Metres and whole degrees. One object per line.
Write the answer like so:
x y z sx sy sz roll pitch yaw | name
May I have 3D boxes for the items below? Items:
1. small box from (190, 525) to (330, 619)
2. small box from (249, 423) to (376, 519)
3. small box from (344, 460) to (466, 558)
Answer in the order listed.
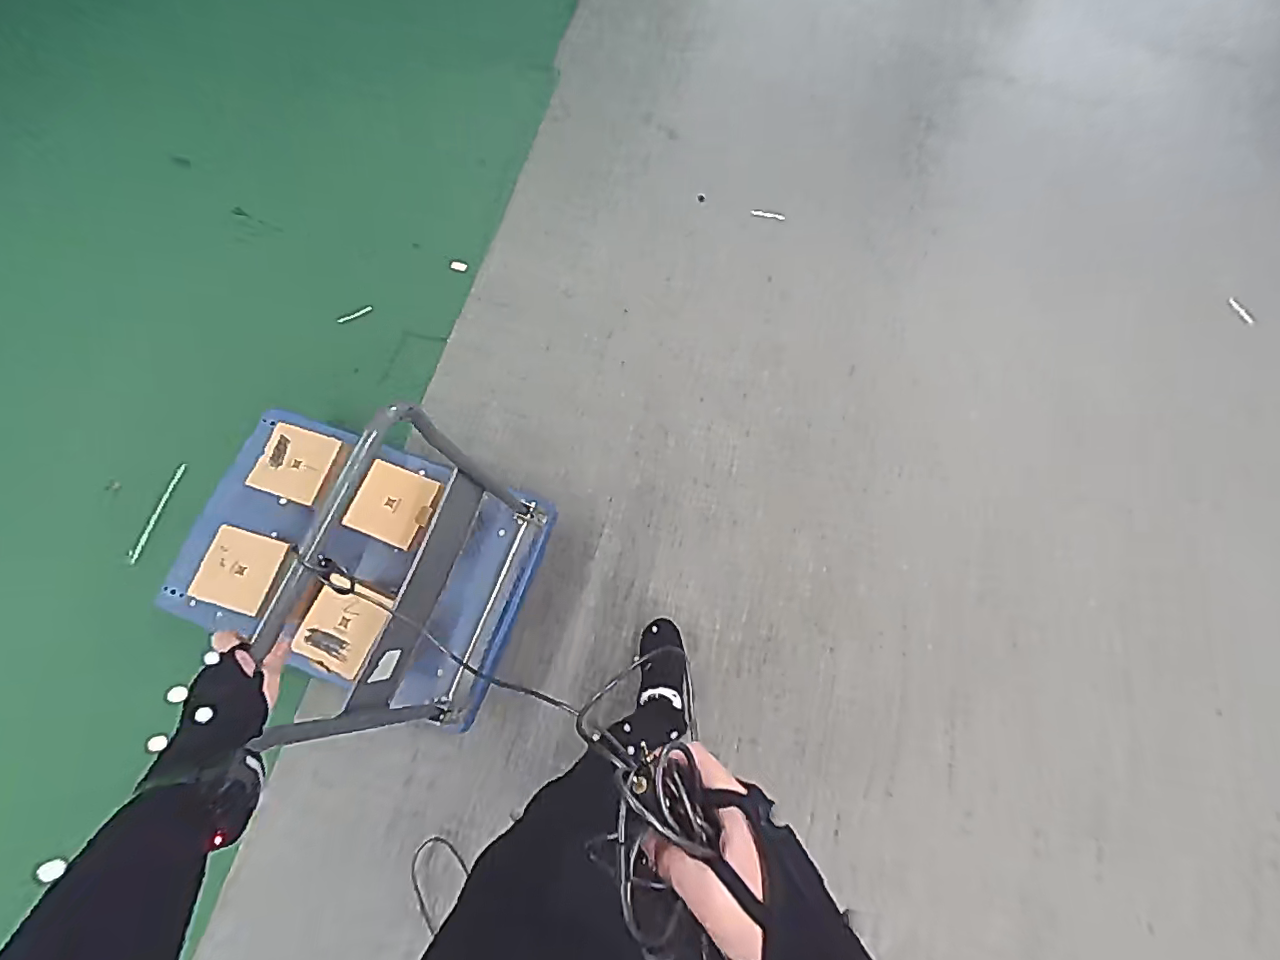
-0.871 0.220 1.261 0.179 0.176 0.168 15 74 8 | small box
-0.791 -0.015 1.328 0.179 0.176 0.168 17 75 7 | small box
-0.549 0.077 1.288 0.179 0.176 0.168 20 75 8 | small box
